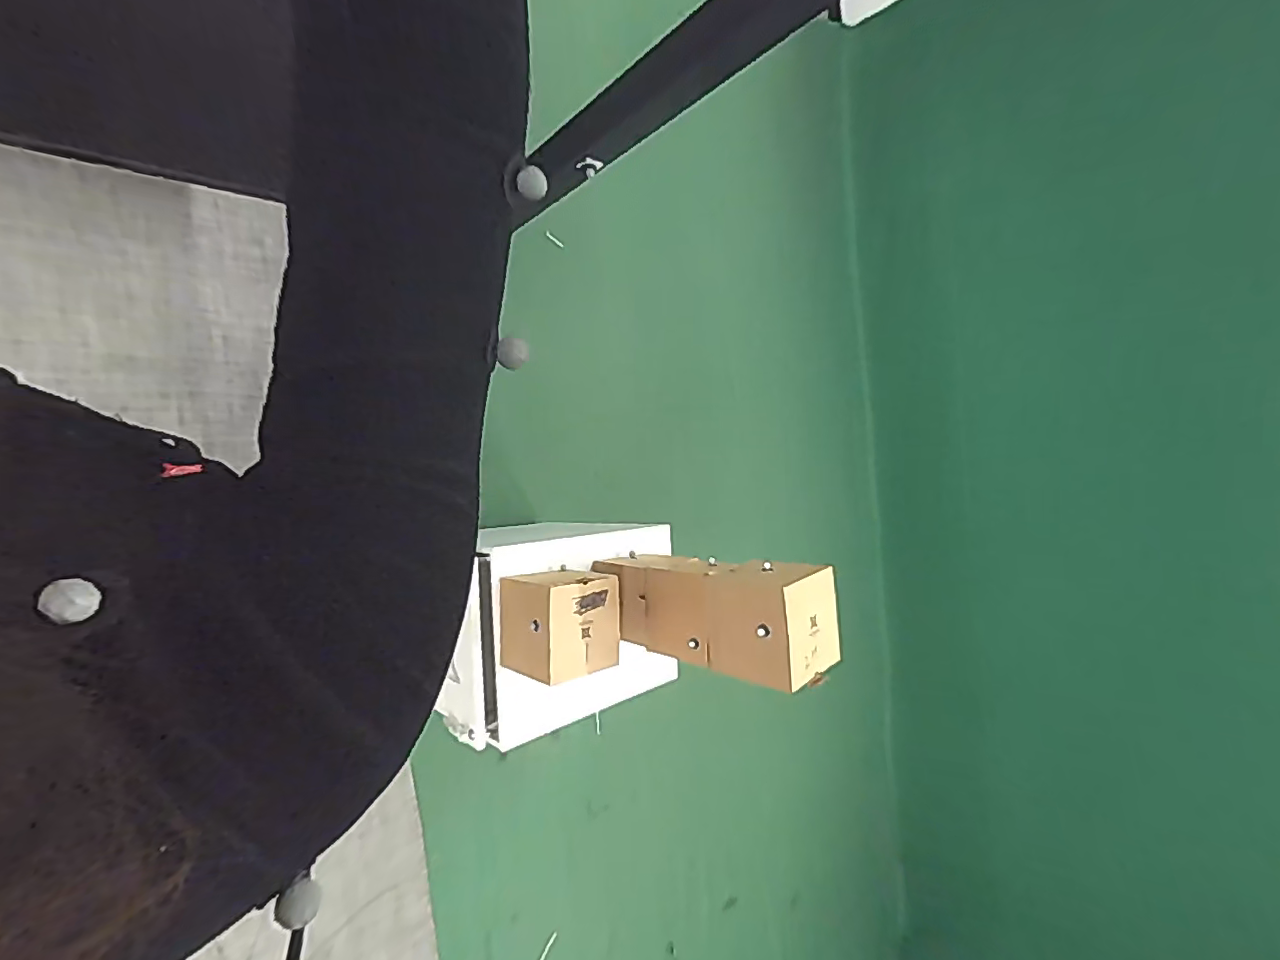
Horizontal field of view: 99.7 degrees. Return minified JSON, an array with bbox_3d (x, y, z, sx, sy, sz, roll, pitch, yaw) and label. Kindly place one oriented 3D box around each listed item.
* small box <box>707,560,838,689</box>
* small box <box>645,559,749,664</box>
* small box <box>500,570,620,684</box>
[{"bbox_3d":[0.234,0.244,0.968,0.168,0.176,0.179,-8,95,-43],"label":"small box"},{"bbox_3d":[0.123,0.253,1.090,0.168,0.176,0.179,2,88,-44],"label":"small box"},{"bbox_3d":[-0.156,0.269,1.042,0.168,0.176,0.179,1,88,-45],"label":"small box"}]
